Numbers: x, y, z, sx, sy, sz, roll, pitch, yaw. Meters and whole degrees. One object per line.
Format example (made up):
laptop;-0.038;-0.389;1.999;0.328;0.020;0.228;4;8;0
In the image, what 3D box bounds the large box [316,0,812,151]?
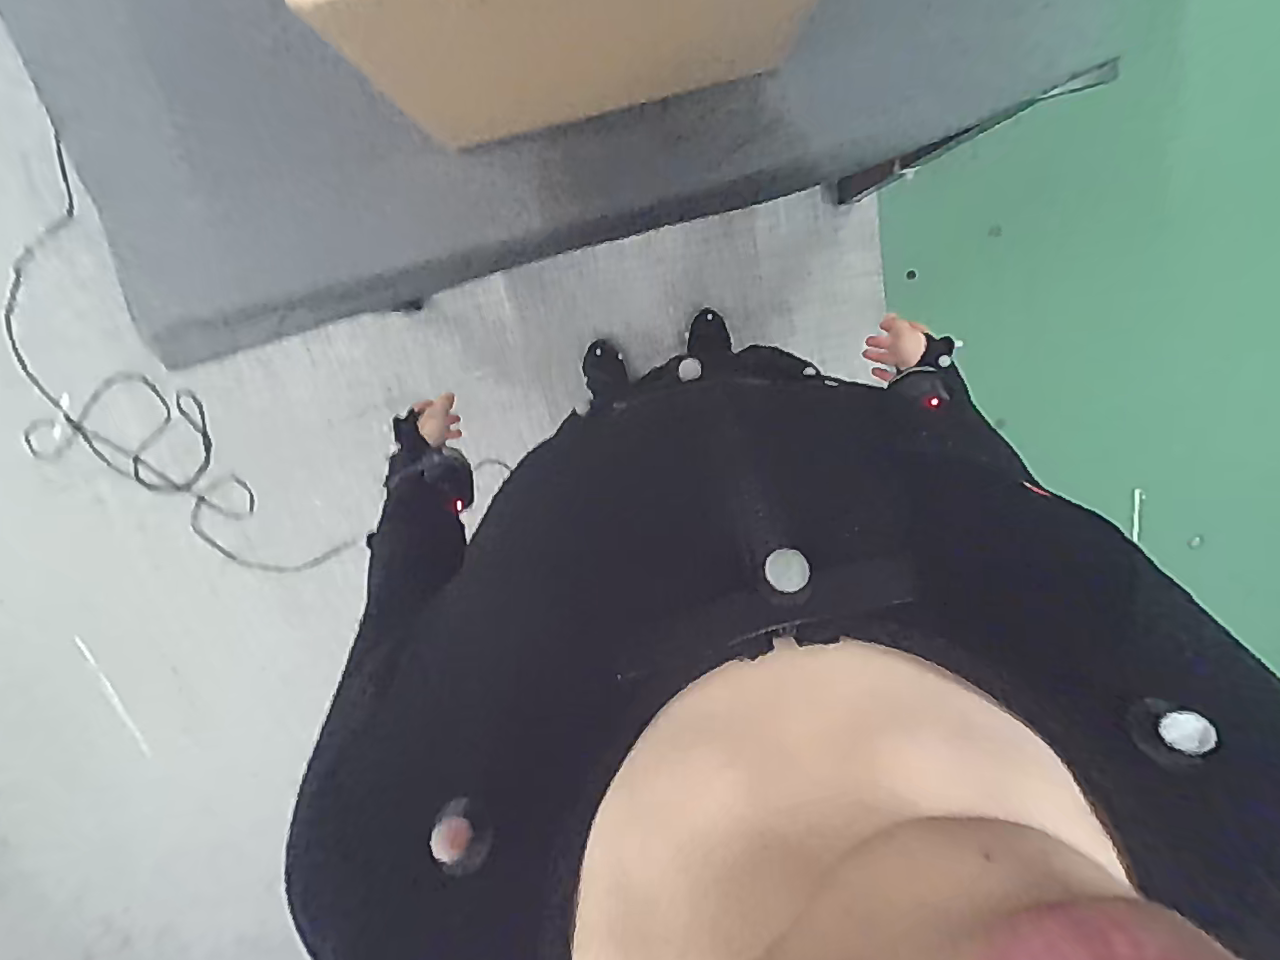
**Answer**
large box;-0.062;-0.539;0.456;0.408;0.320;0.320;-12;106;3
